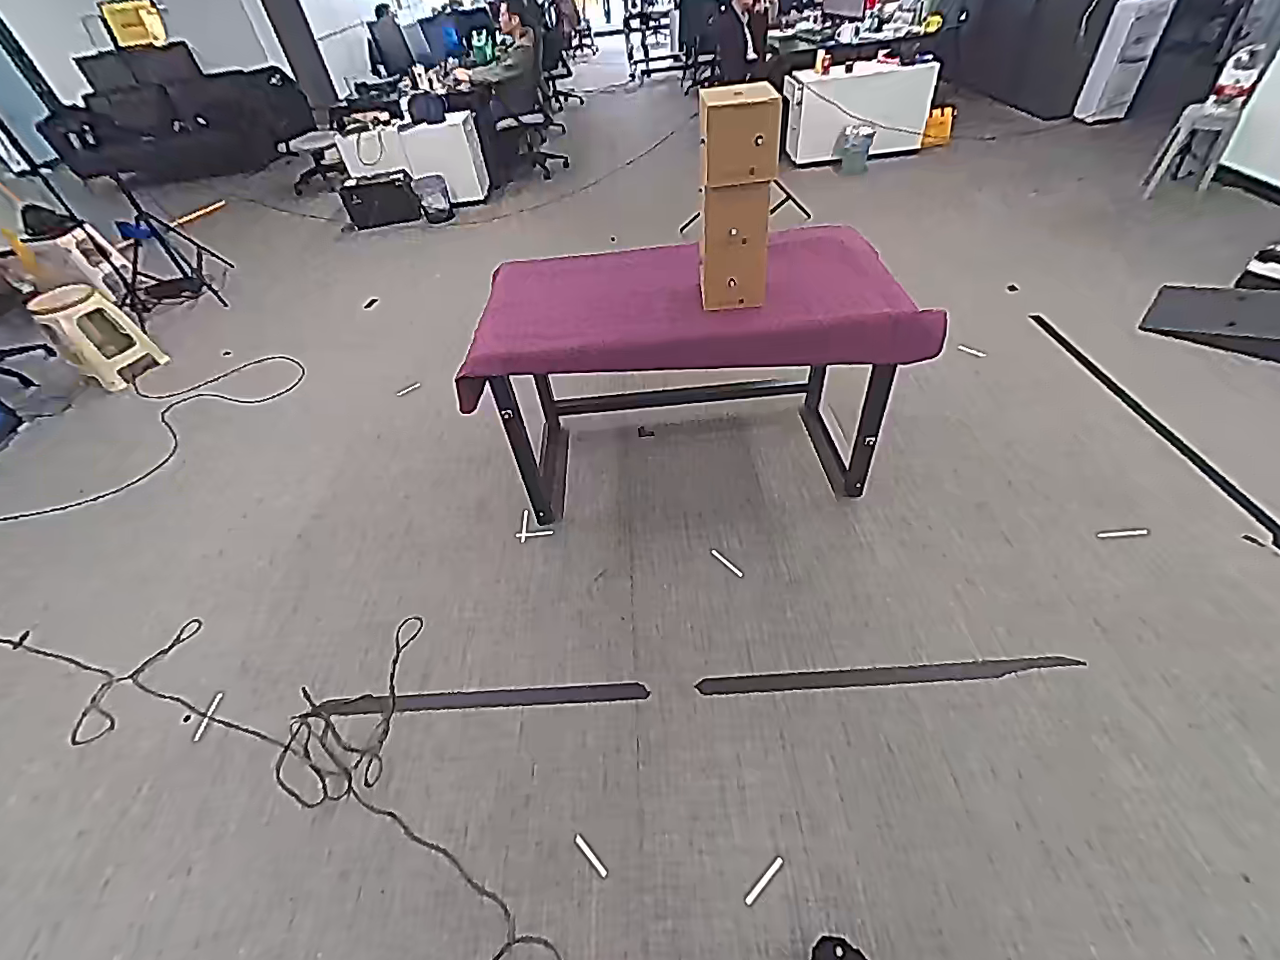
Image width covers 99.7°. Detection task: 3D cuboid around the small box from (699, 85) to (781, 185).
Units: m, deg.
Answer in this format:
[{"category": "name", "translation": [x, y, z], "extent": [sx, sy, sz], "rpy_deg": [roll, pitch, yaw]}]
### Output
[{"category": "small box", "translation": [0.232, -0.815, 1.287], "extent": [0.168, 0.176, 0.179], "rpy_deg": [-5, 45, 2]}]

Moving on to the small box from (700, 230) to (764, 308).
[{"category": "small box", "translation": [0.256, -0.599, 1.531], "extent": [0.168, 0.176, 0.179], "rpy_deg": [-2, 45, 4]}]

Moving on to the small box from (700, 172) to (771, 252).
[{"category": "small box", "translation": [0.244, -0.717, 1.417], "extent": [0.168, 0.176, 0.179], "rpy_deg": [-3, 46, 5]}]
